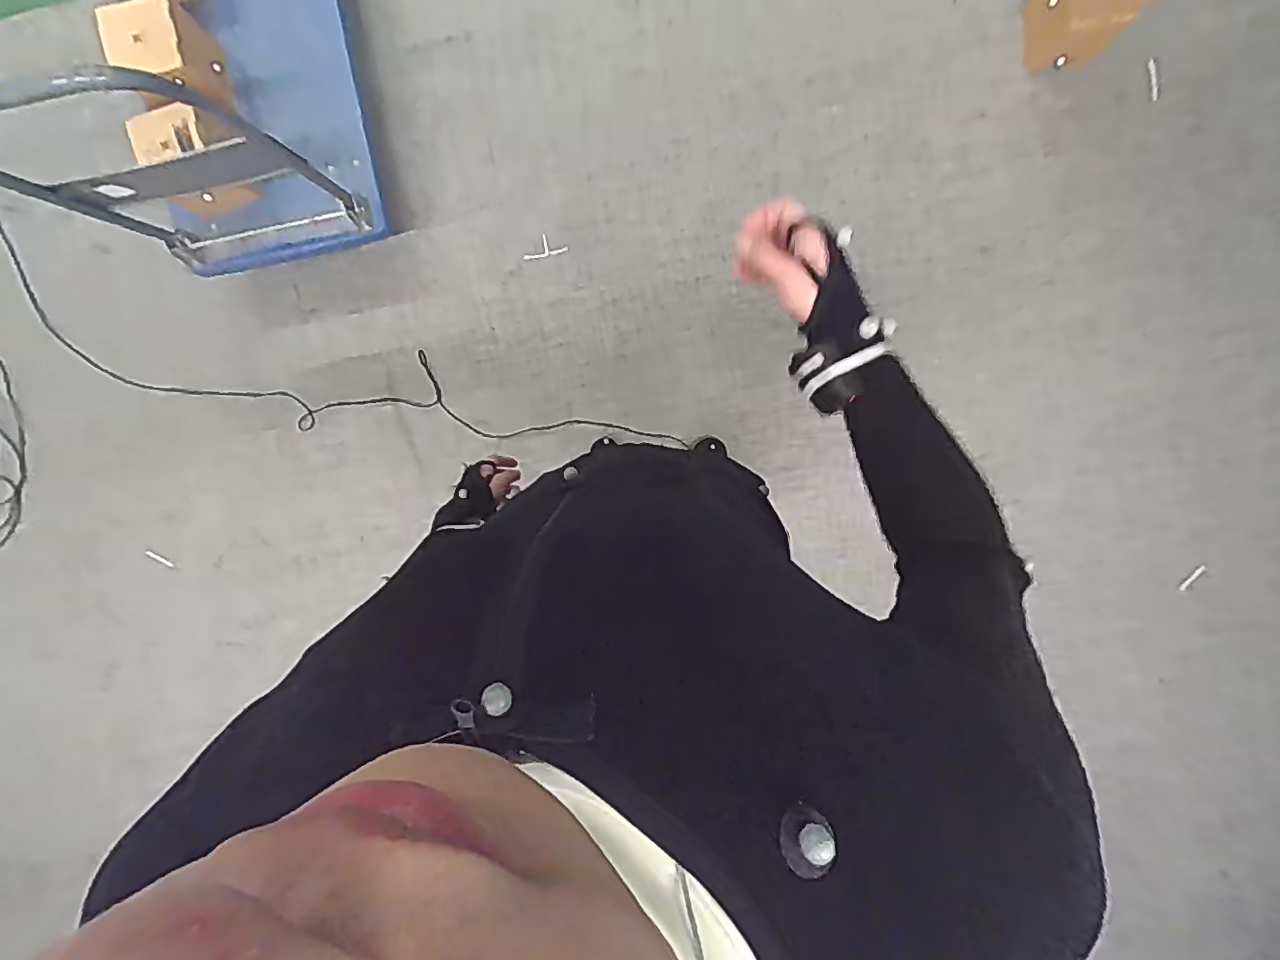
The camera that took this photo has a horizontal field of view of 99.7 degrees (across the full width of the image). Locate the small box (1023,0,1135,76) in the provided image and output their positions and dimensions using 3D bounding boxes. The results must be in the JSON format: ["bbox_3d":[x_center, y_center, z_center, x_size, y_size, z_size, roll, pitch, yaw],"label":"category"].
[{"bbox_3d":[1.138,-1.208,1.414,0.168,0.176,0.179,-5,95,3],"label":"small box"}]

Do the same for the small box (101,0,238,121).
[{"bbox_3d":[-1.151,-1.025,1.336,0.179,0.176,0.168,-10,94,2],"label":"small box"}]
